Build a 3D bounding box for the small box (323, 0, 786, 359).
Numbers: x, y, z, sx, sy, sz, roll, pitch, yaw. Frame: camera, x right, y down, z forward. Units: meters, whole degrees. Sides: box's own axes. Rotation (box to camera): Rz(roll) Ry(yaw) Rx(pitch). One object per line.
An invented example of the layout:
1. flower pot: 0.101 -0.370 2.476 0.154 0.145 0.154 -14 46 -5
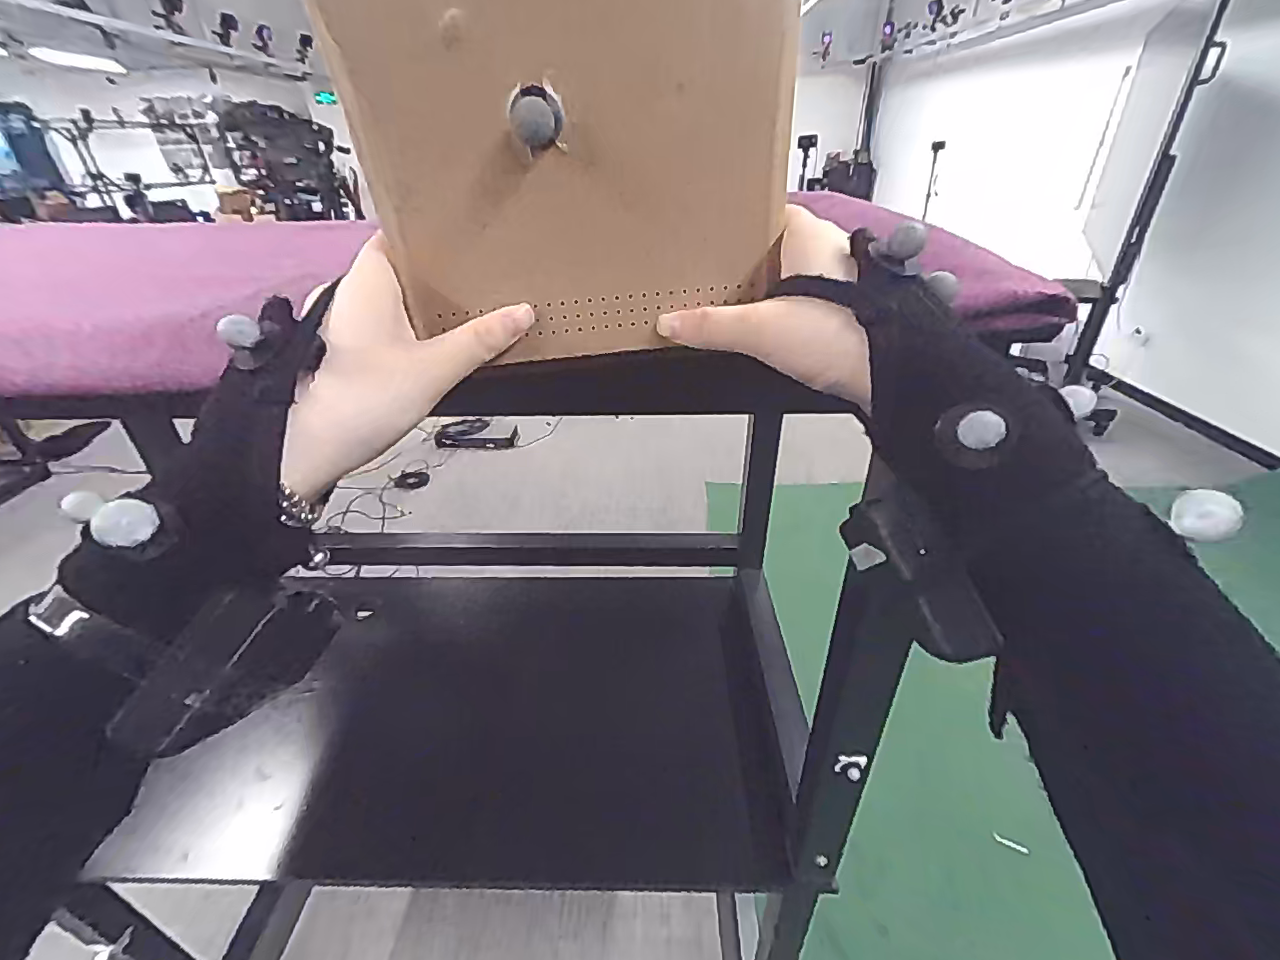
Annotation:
1. small box: -0.029 -0.174 0.283 0.179 0.176 0.168 -7 37 -1
